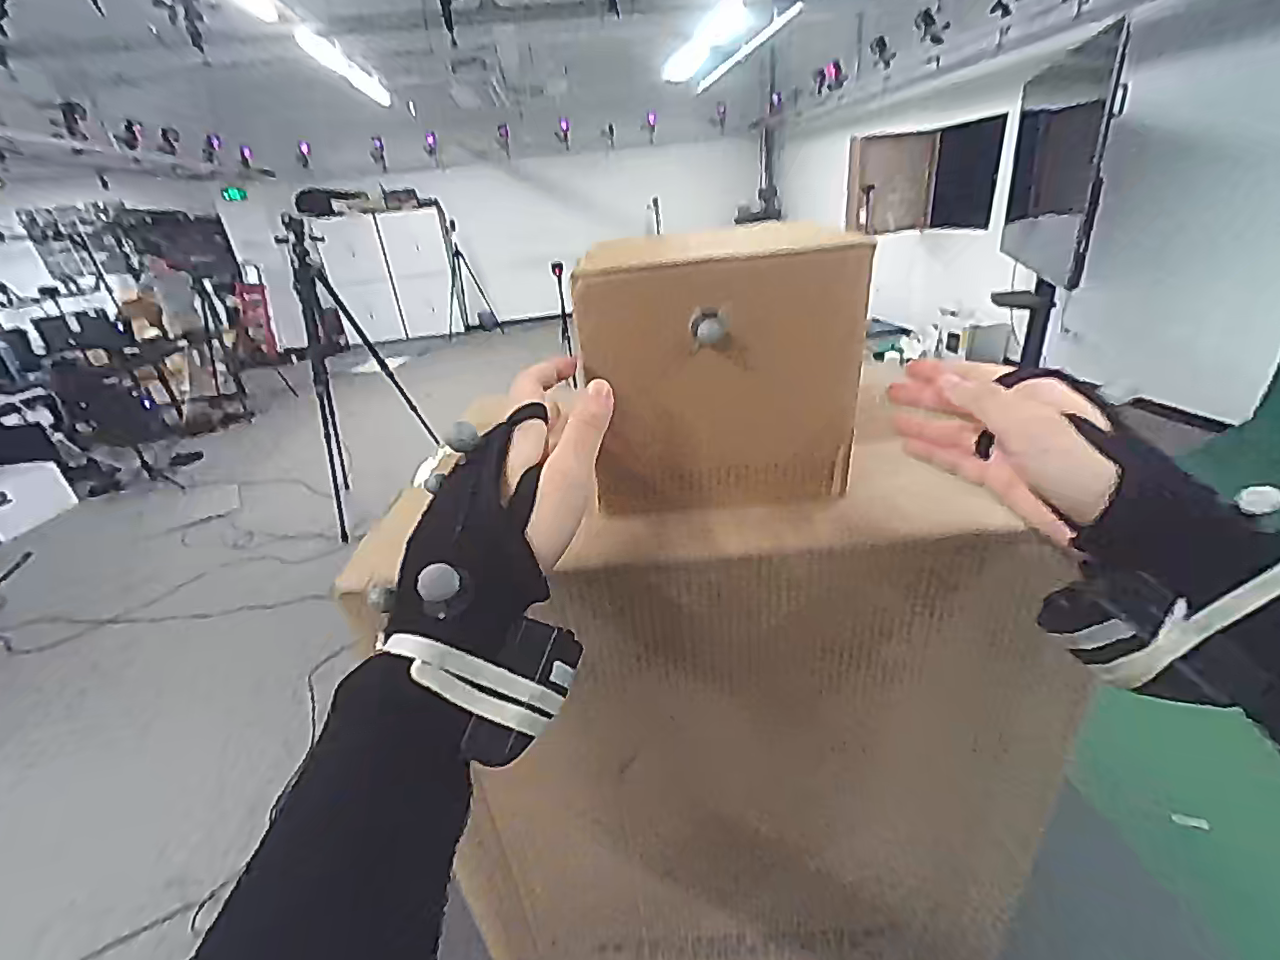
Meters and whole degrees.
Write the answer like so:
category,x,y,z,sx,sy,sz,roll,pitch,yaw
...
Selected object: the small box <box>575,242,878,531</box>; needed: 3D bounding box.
category,x,y,z,sx,sy,sz,roll,pitch,yaw
small box,0.056,-0.076,0.414,0.179,0.176,0.168,-5,28,3
